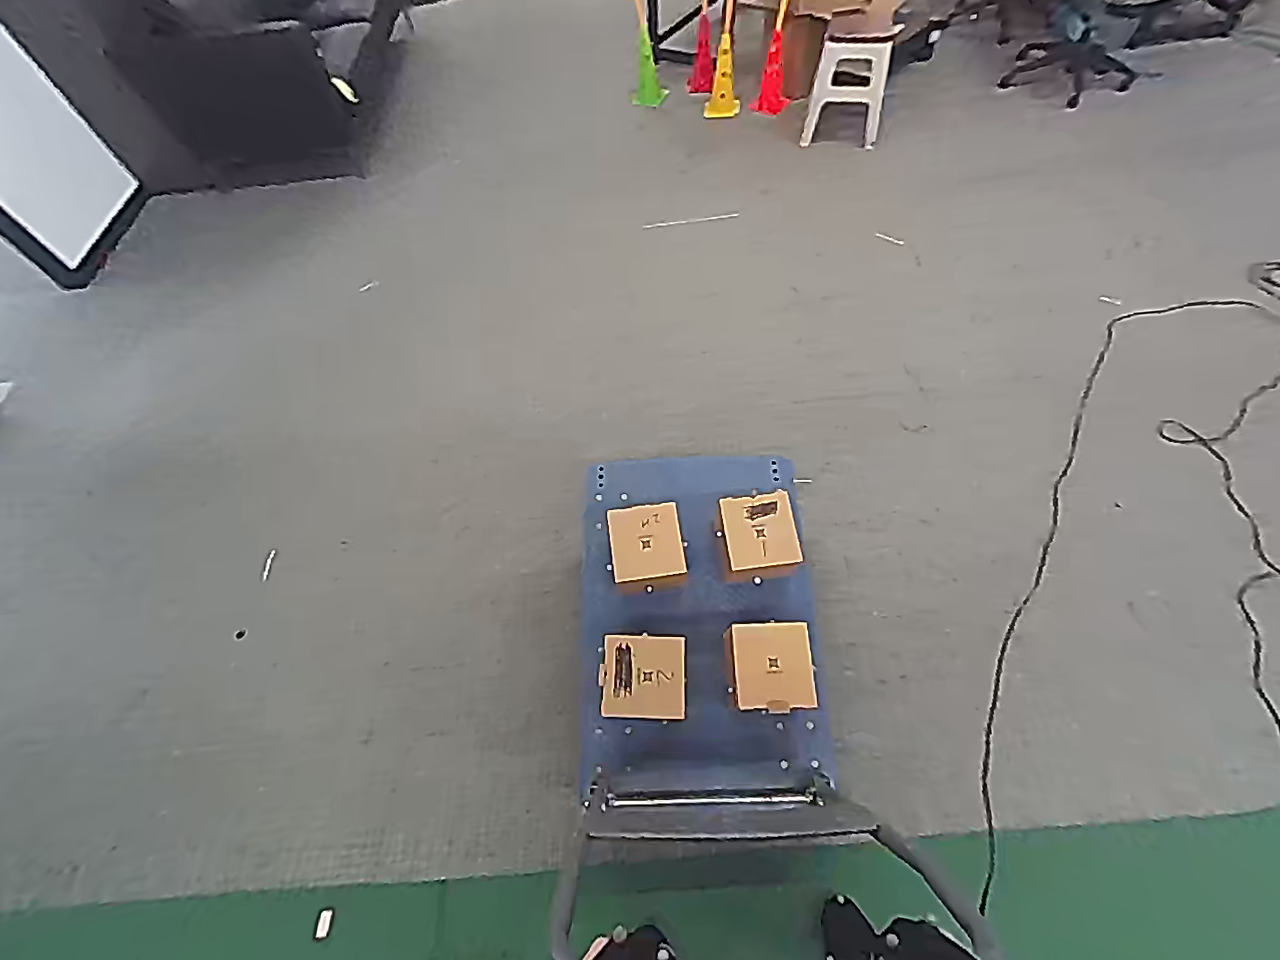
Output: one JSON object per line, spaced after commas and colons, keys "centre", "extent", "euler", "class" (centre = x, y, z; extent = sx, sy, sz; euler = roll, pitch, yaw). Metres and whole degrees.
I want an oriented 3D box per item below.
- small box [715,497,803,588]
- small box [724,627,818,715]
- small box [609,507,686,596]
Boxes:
{"centre": [0.283, 0.157, 1.329], "extent": [0.168, 0.176, 0.179], "euler": [-6, 69, -1], "class": "small box"}
{"centre": [0.285, 0.432, 1.218], "extent": [0.168, 0.176, 0.179], "euler": [-2, 68, 1], "class": "small box"}
{"centre": [0.018, 0.182, 1.325], "extent": [0.168, 0.176, 0.179], "euler": [-7, 68, -2], "class": "small box"}
